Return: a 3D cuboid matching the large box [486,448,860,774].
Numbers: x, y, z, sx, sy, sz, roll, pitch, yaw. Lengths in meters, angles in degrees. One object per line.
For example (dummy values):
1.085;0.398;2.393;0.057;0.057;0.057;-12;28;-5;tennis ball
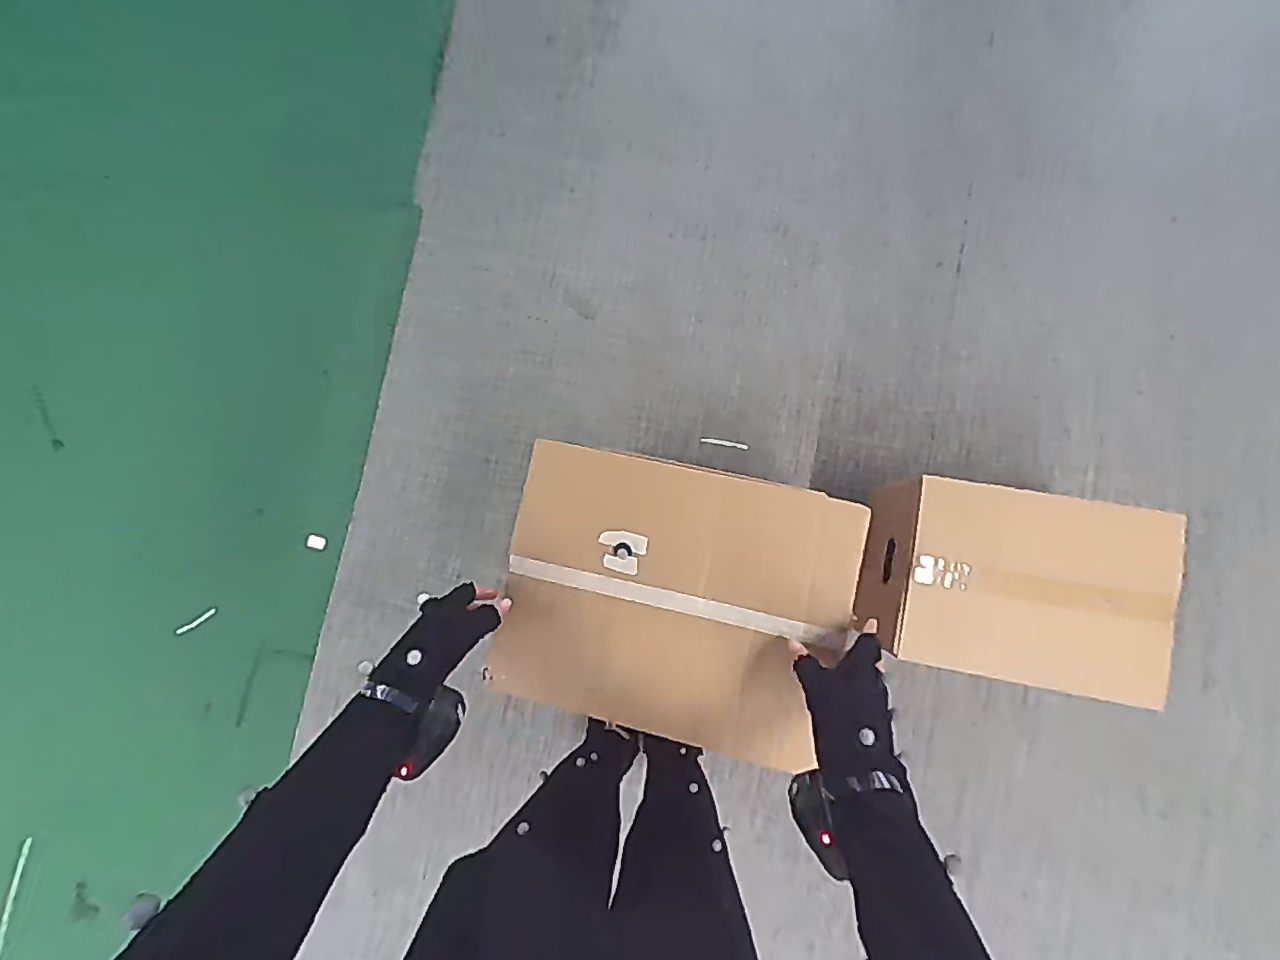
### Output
0.054;0.153;0.785;0.408;0.320;0.320;12;88;9;large box
